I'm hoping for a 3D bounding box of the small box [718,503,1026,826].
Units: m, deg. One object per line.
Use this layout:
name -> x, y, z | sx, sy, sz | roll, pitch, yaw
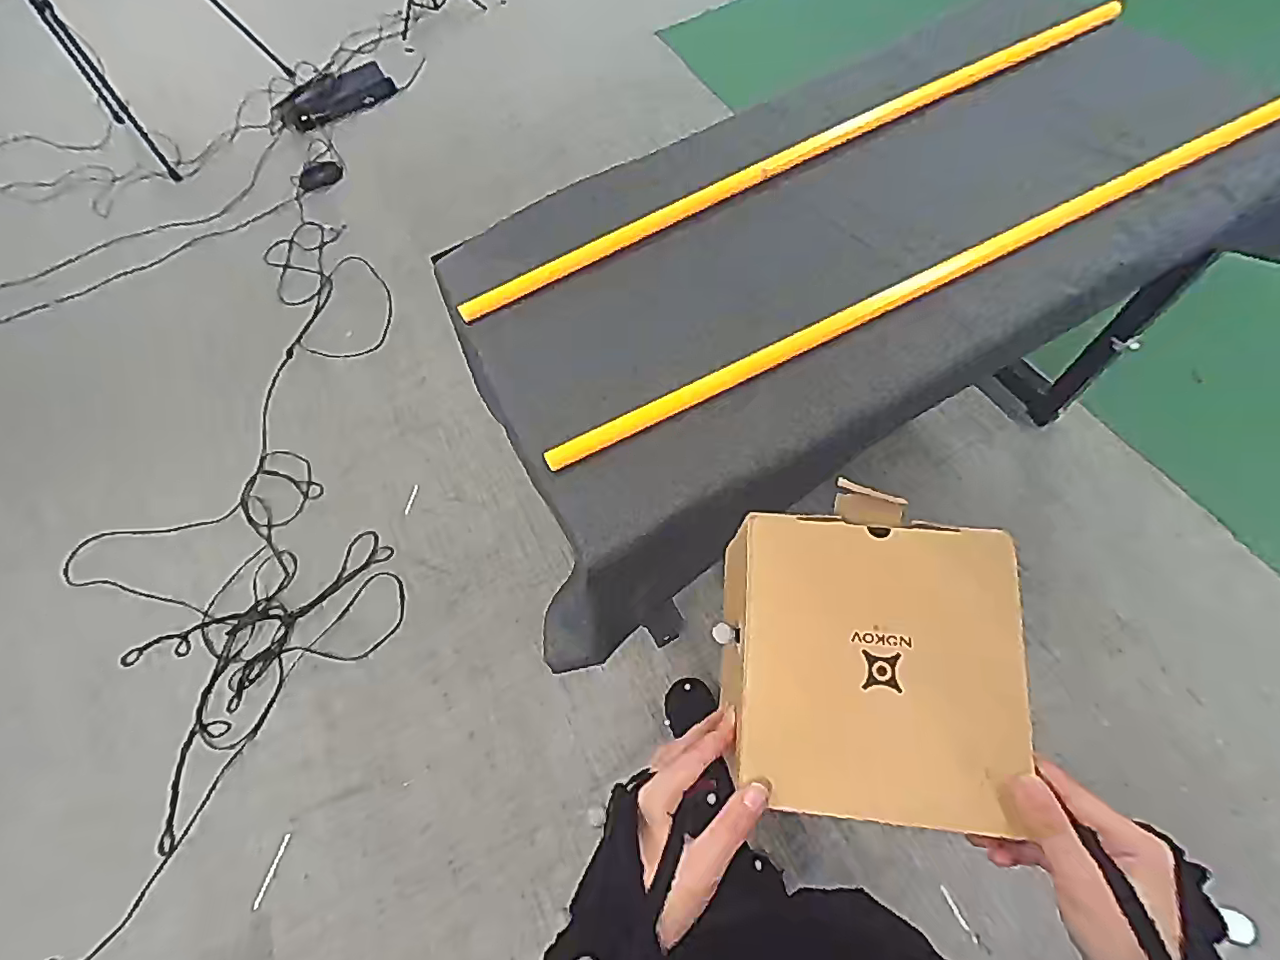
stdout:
small box -> 0.148, 0.125, 0.405 | 0.168, 0.176, 0.179 | 3, 74, 6
